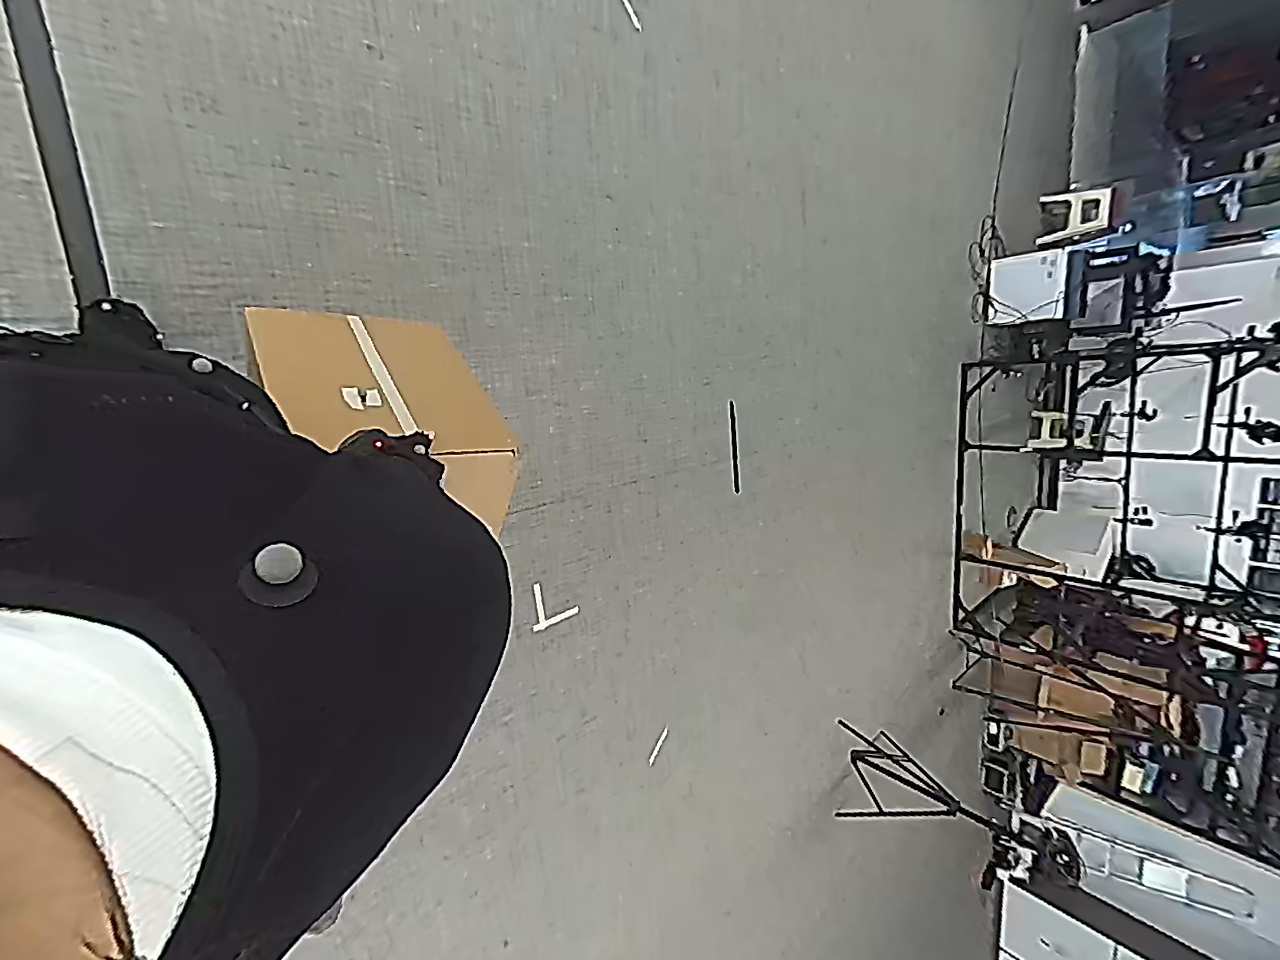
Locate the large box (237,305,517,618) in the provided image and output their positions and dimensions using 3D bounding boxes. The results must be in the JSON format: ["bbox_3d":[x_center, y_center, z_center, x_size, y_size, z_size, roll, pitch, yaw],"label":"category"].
[{"bbox_3d":[-0.463,-0.045,0.917,0.320,0.408,0.320,-7,136,-38],"label":"large box"}]
